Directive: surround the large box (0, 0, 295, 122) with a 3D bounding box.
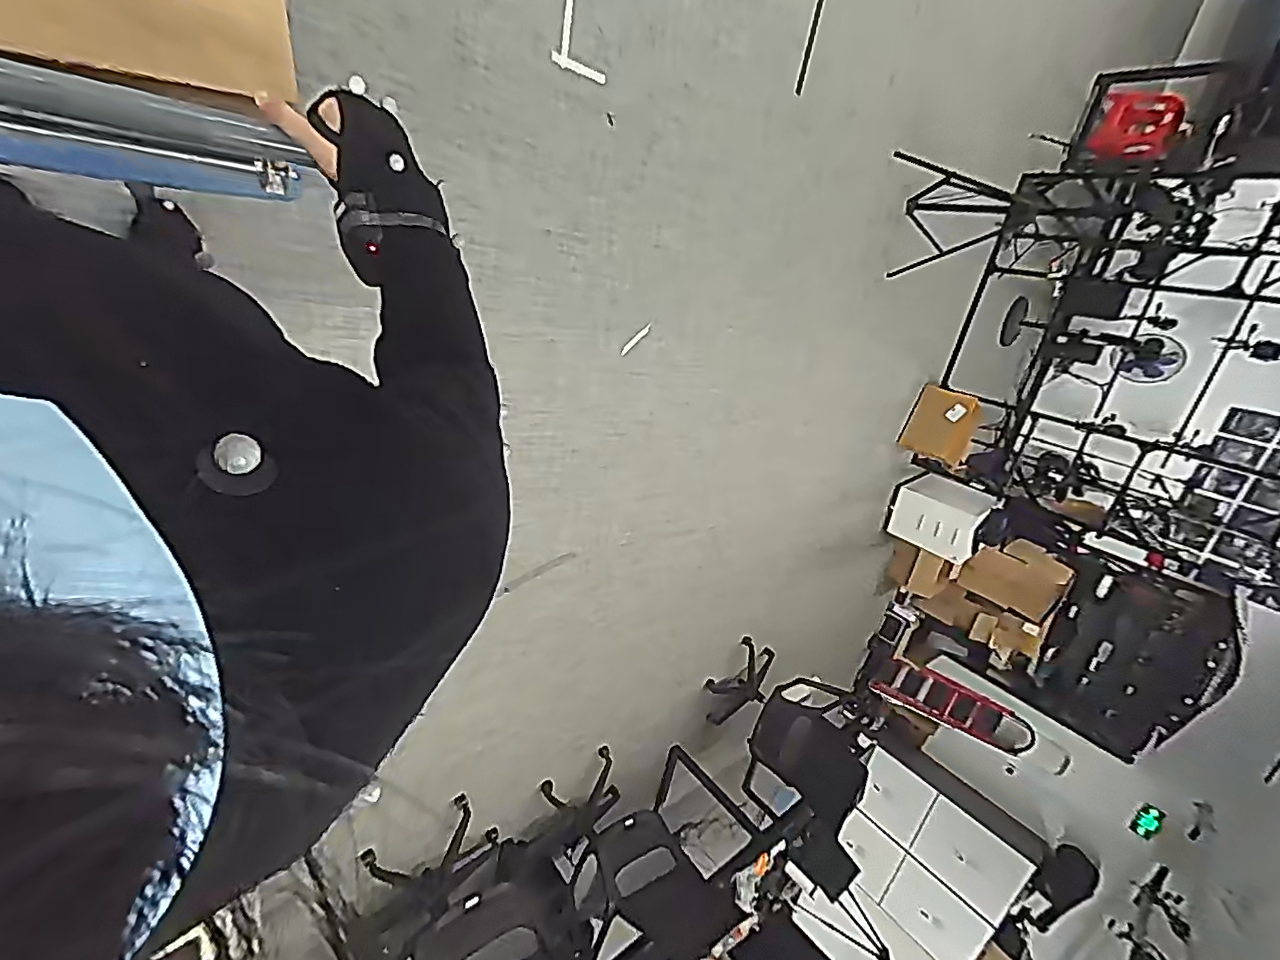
[{"bbox_3d":[-0.726,-0.676,0.680,0.408,0.320,0.320,-17,123,-39],"label":"large box"}]
